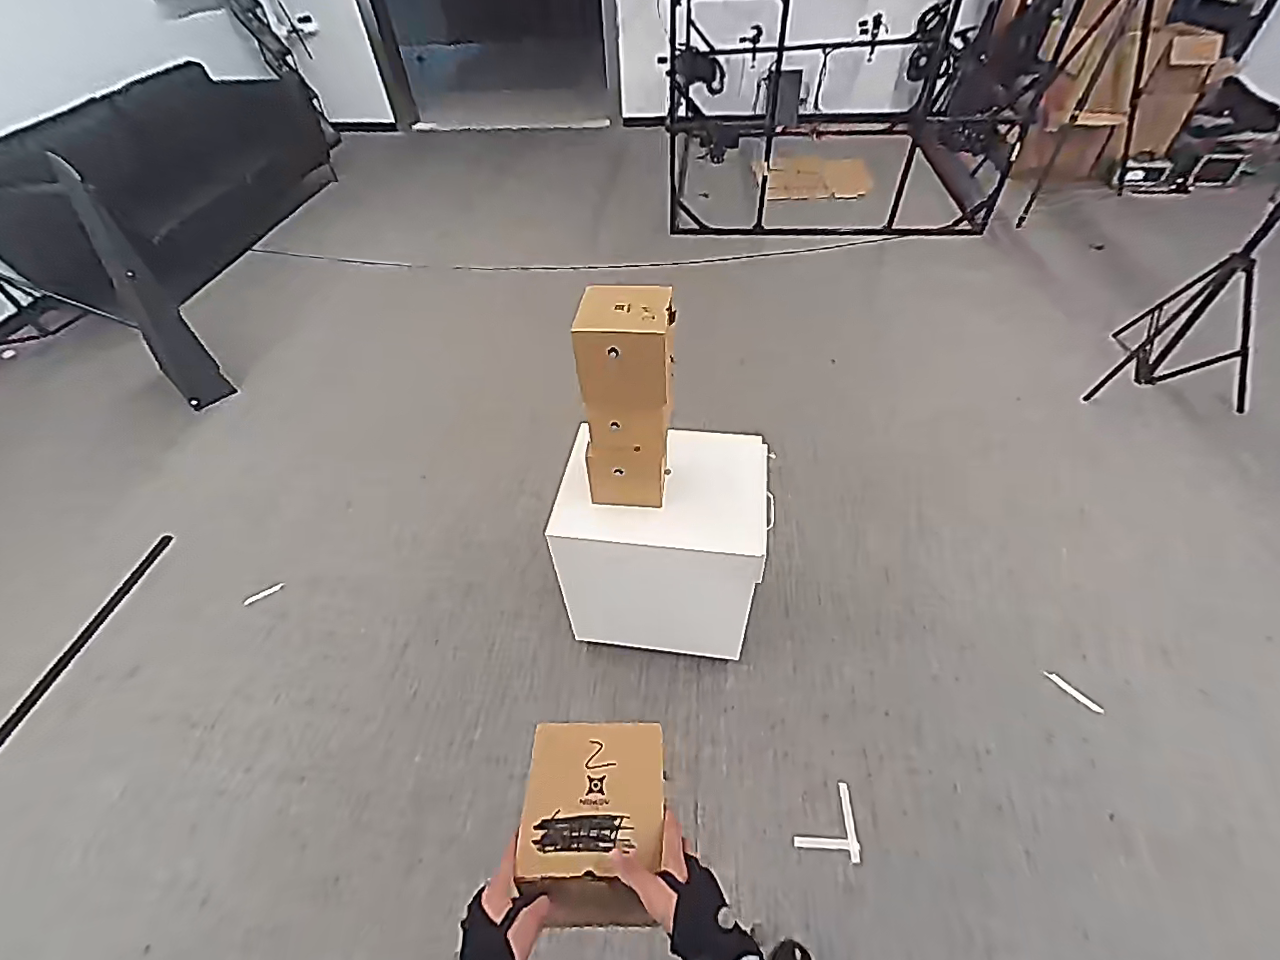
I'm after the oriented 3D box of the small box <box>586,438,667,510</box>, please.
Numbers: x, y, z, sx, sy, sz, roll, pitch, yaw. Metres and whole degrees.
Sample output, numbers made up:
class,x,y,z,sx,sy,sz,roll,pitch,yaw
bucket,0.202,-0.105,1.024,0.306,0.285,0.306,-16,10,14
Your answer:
class,x,y,z,sx,sy,sz,roll,pitch,yaw
small box,-0.026,-0.042,1.327,0.179,0.176,0.168,4,48,5

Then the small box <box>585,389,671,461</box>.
class,x,y,z,sx,sy,sz,roll,pitch,yaw
small box,-0.018,-0.160,1.214,0.168,0.176,0.179,4,47,6

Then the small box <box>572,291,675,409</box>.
class,x,y,z,sx,sy,sz,roll,pitch,yaw
small box,-0.024,-0.258,1.080,0.179,0.176,0.168,4,48,6
